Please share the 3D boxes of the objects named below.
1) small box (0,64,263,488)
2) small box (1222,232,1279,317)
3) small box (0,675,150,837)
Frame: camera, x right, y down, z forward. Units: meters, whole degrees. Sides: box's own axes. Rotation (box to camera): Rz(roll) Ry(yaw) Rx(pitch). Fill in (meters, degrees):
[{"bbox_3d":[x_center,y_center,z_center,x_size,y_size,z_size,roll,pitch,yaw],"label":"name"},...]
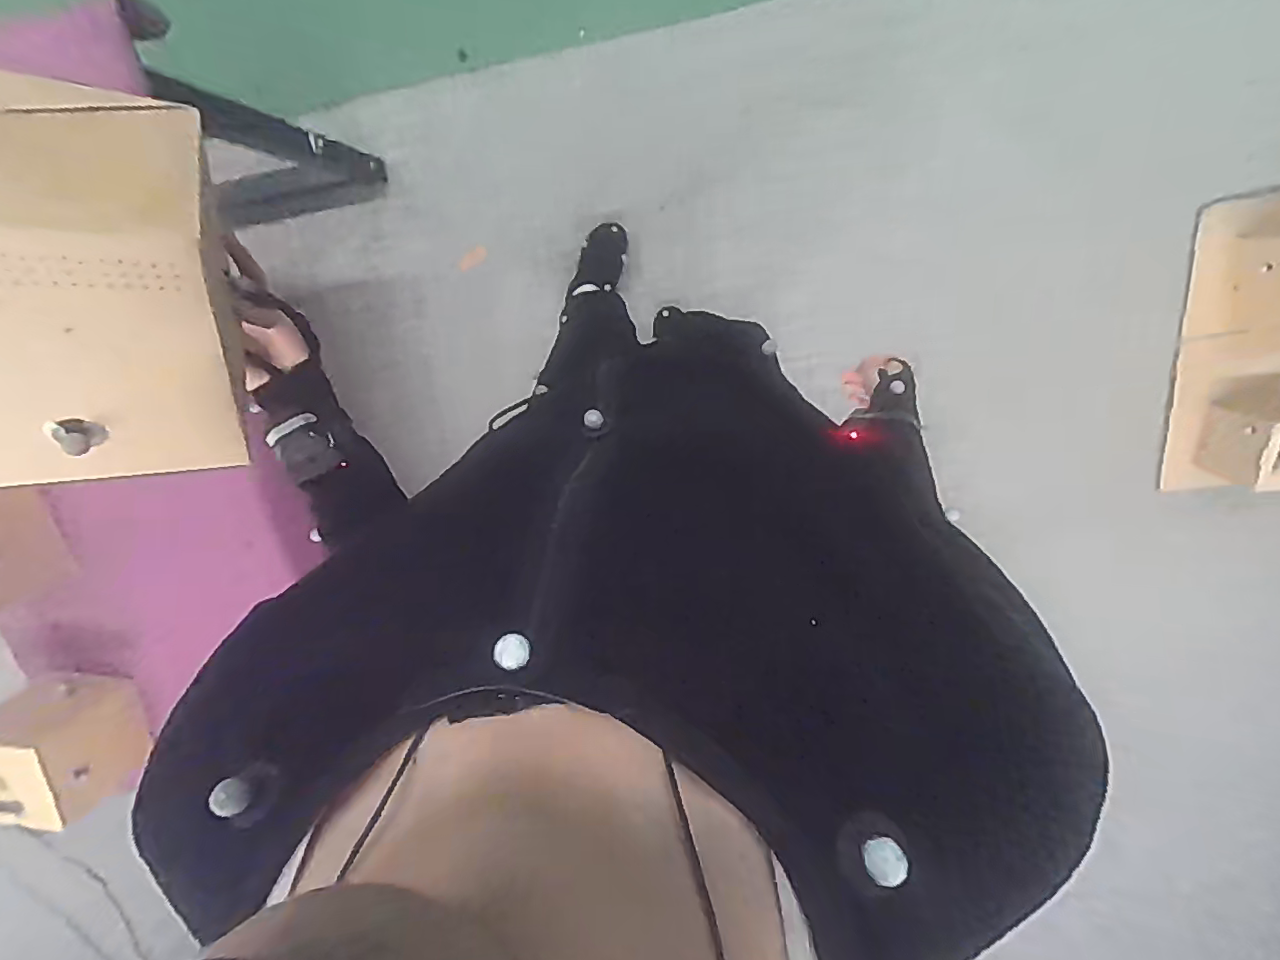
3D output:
[{"bbox_3d":[-0.338,-0.116,0.308,0.179,0.168,0.176,-8,143,-32],"label":"small box"},{"bbox_3d":[1.424,-0.448,1.160,0.179,0.176,0.168,-10,109,7],"label":"small box"},{"bbox_3d":[-1.009,0.470,0.935,0.168,0.176,0.179,4,109,2],"label":"small box"}]
